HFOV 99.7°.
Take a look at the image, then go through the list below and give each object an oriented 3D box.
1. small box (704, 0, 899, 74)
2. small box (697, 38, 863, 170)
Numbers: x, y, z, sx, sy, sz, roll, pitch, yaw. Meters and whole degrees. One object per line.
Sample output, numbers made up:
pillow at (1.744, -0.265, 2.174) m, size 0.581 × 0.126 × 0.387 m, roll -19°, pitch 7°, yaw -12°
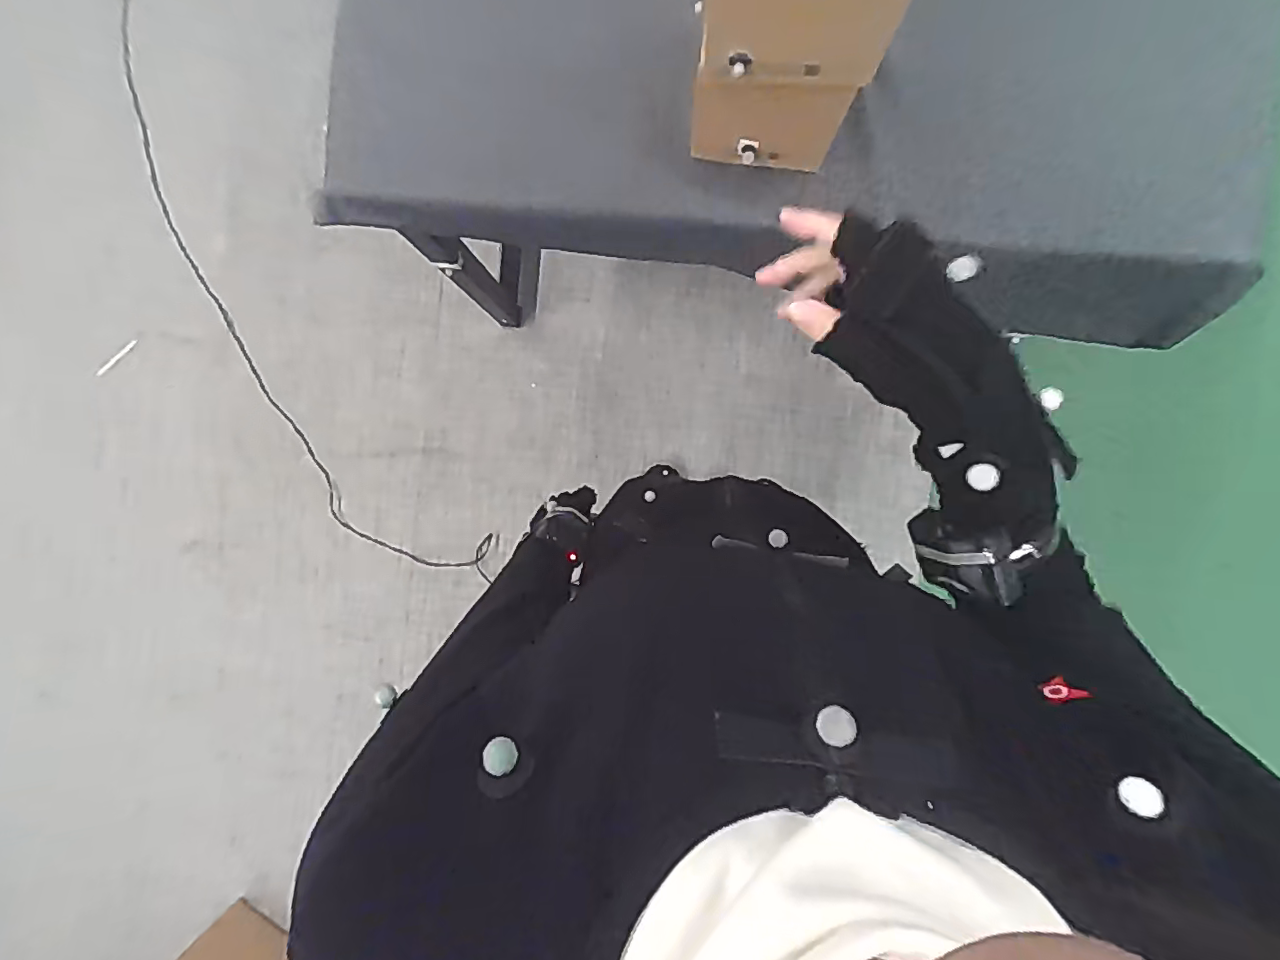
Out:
small box at (0.143, -0.485, 0.462) m, size 0.168 × 0.176 × 0.179 m, roll 0°, pitch 91°, yaw 4°
small box at (0.158, -0.498, 0.625) m, size 0.168 × 0.176 × 0.179 m, roll 7°, pitch 92°, yaw 4°
